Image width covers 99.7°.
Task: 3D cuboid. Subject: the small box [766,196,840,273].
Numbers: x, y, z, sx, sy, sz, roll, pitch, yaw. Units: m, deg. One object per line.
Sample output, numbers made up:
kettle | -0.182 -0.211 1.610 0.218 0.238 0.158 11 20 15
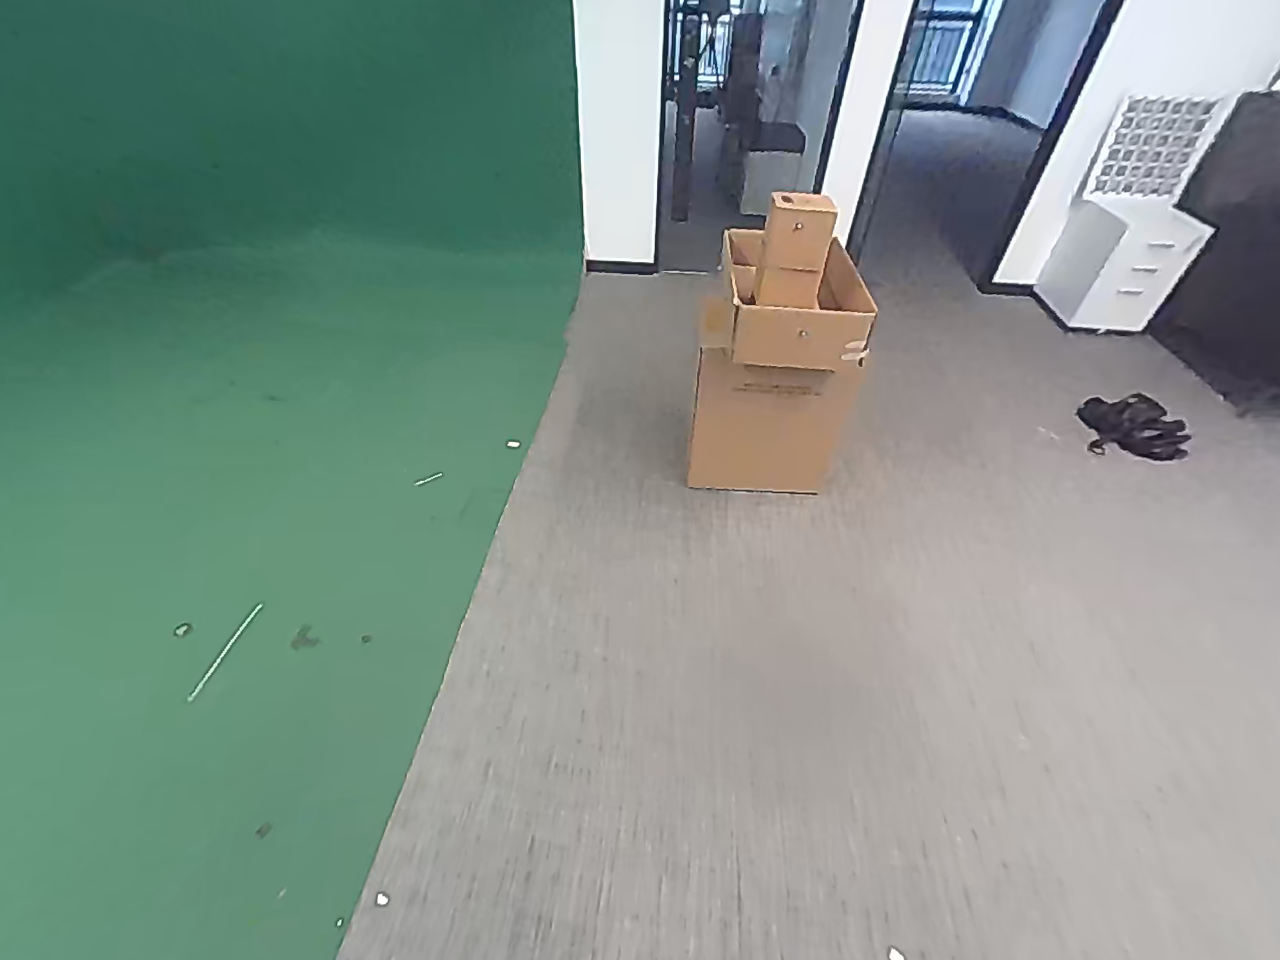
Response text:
small box | 0.477 -0.733 1.617 0.179 0.176 0.168 7 42 3

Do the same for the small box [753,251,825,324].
small box | 0.470 -0.614 1.730 0.179 0.176 0.168 5 41 1
